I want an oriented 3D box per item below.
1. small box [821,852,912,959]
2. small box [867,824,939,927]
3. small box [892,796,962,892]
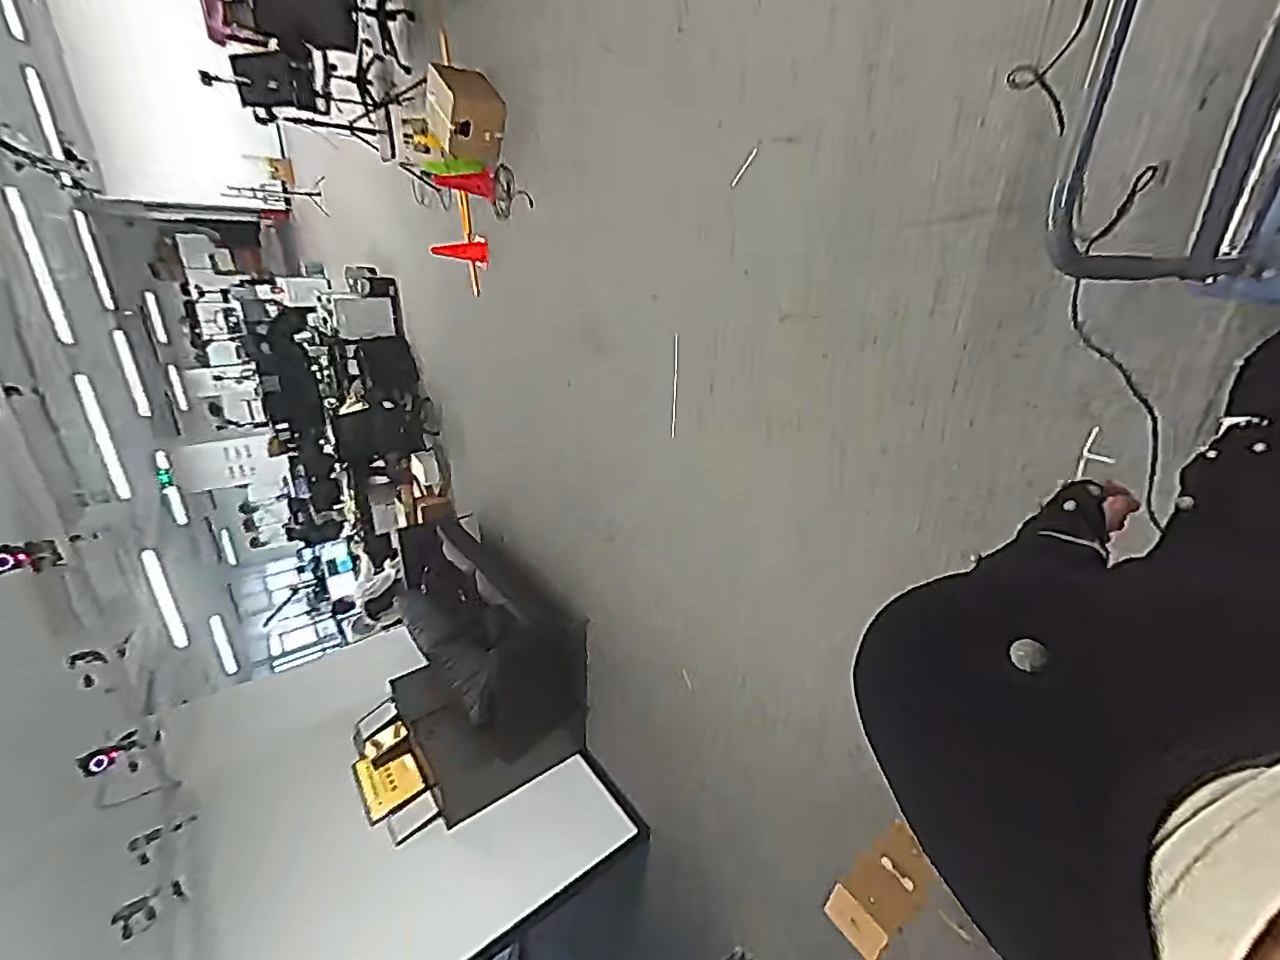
[{"bbox_3d":[0.693,1.297,1.650,0.179,0.176,0.168,35,128,42],"label":"small box"},{"bbox_3d":[0.826,1.266,1.740,0.168,0.176,0.179,35,129,41],"label":"small box"},{"bbox_3d":[0.957,1.221,1.830,0.168,0.176,0.179,31,125,45],"label":"small box"}]
